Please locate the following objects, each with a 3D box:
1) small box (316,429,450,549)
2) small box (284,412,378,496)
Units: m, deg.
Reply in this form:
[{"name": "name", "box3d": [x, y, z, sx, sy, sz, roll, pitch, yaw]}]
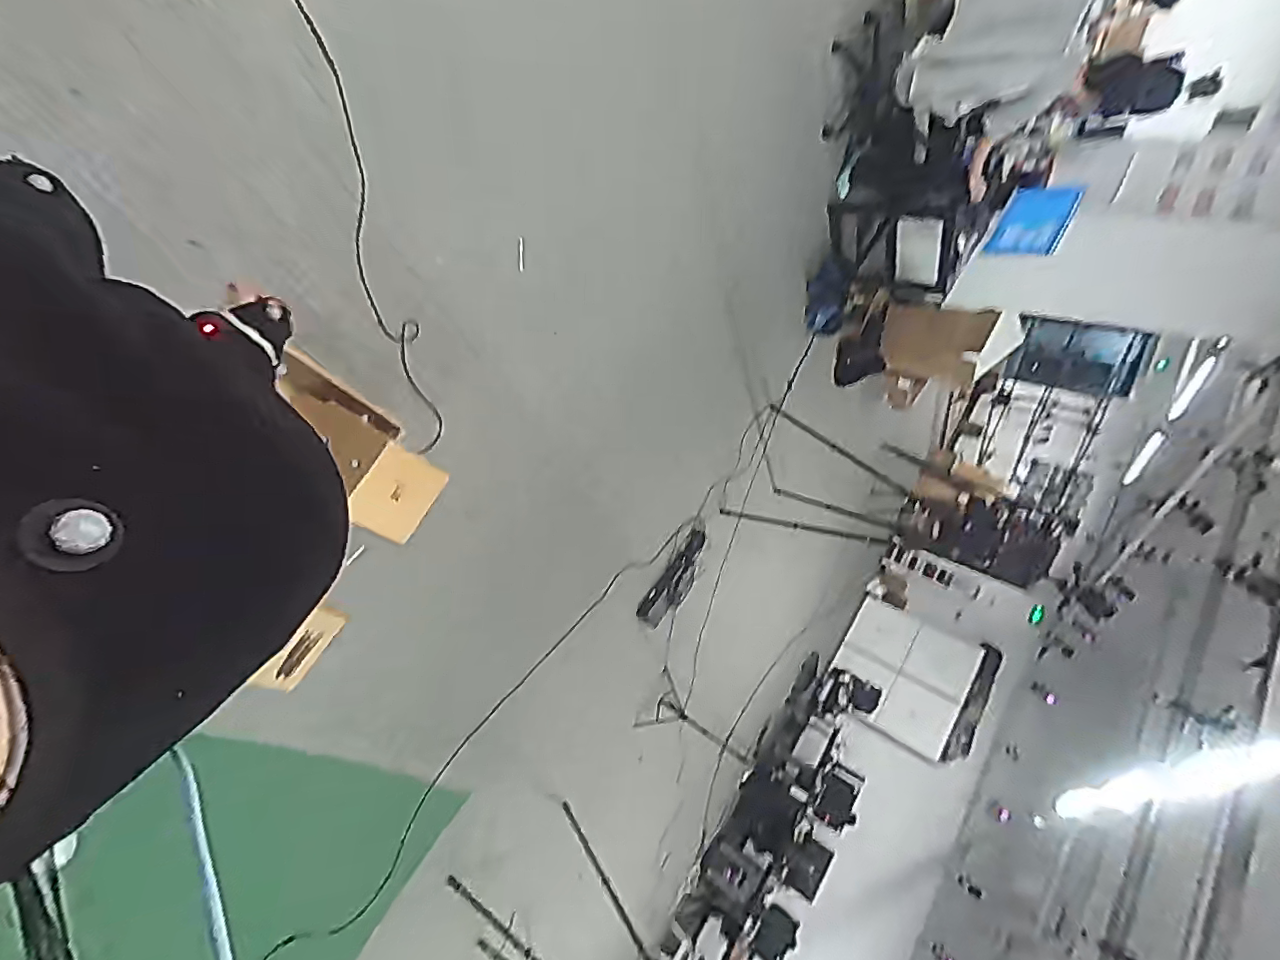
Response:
[{"name": "small box", "box3d": [-0.553, 0.017, 1.153, 0.179, 0.176, 0.168, -60, 143, -12]}, {"name": "small box", "box3d": [-0.675, -0.033, 1.247, 0.179, 0.176, 0.168, -56, 142, -15]}]
